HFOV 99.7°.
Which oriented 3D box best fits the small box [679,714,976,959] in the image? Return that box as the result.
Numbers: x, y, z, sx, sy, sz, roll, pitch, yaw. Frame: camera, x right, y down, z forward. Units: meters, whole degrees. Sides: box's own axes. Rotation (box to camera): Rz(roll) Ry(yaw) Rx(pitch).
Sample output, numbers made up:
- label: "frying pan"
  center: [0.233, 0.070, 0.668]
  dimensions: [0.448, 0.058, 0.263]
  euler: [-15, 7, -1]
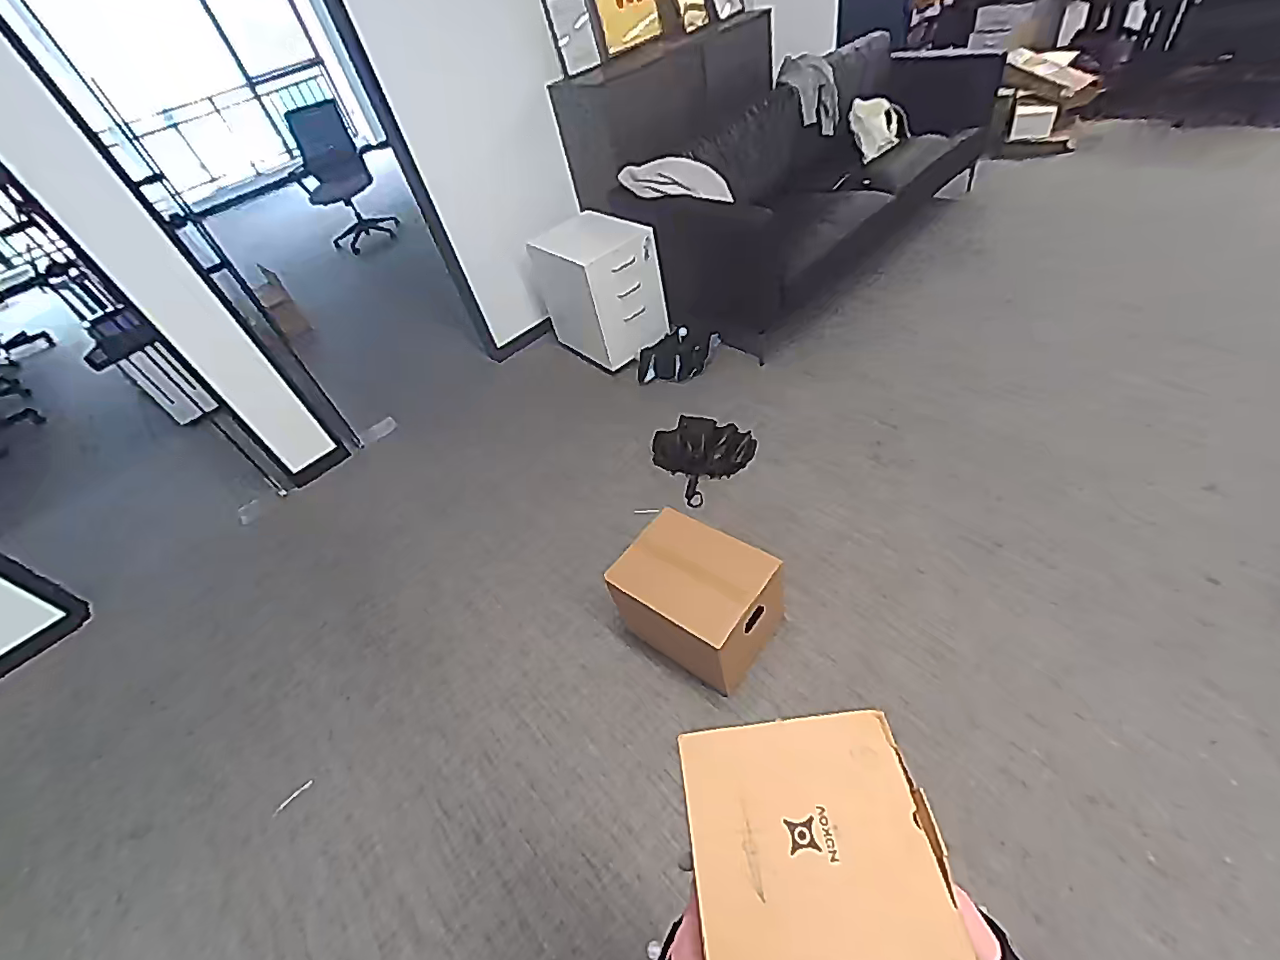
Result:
- label: "small box"
  center: [0.135, 0.321, 0.458]
  dimensions: [0.179, 0.176, 0.168]
  euler: [-10, 45, 3]
